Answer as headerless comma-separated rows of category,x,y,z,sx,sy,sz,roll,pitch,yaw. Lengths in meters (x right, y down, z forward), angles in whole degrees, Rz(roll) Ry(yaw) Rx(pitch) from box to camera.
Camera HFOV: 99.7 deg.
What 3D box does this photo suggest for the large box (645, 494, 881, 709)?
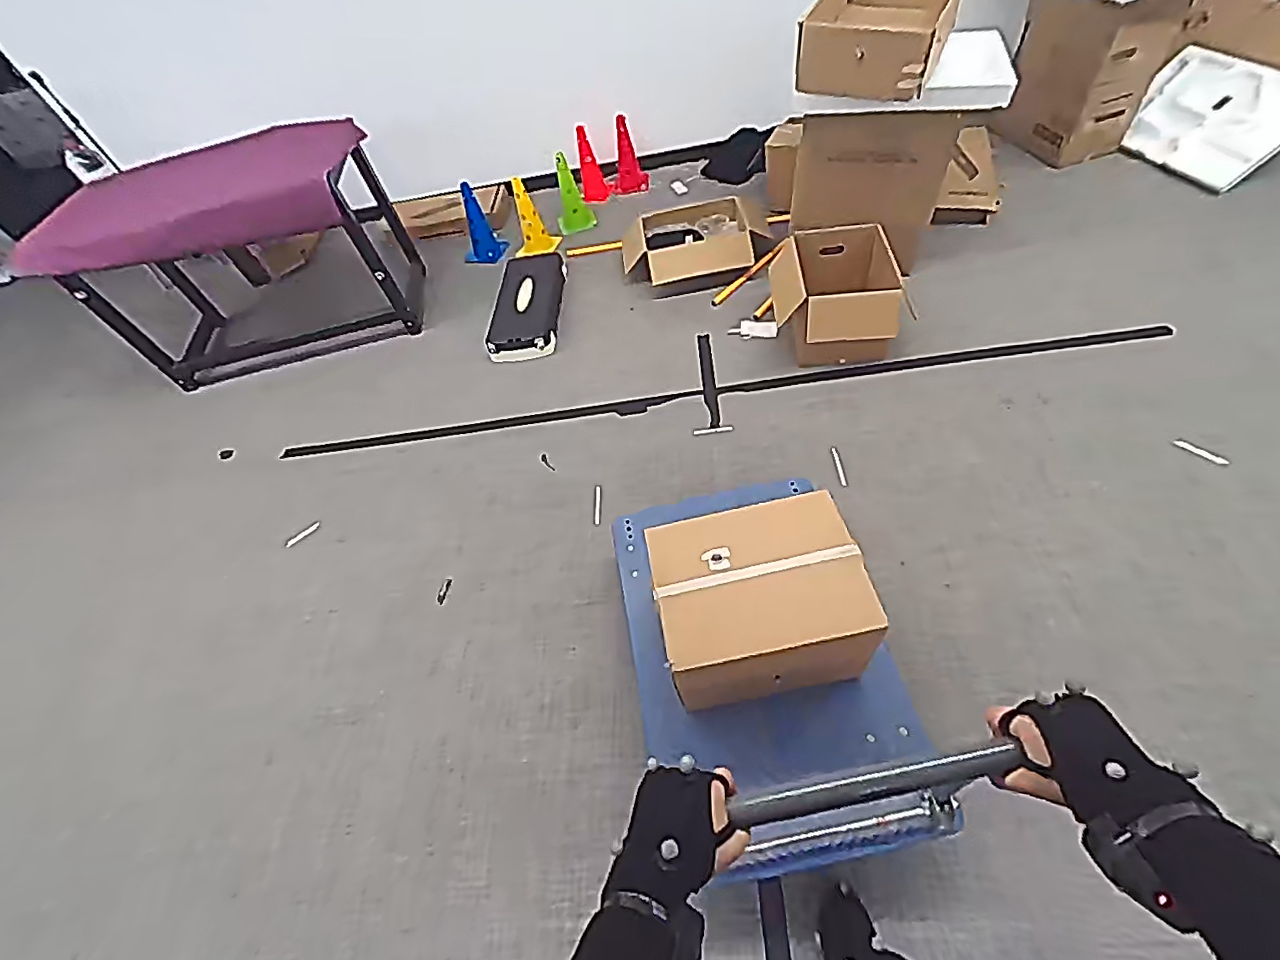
large box,0.255,0.282,1.208,0.408,0.320,0.320,-14,52,3
